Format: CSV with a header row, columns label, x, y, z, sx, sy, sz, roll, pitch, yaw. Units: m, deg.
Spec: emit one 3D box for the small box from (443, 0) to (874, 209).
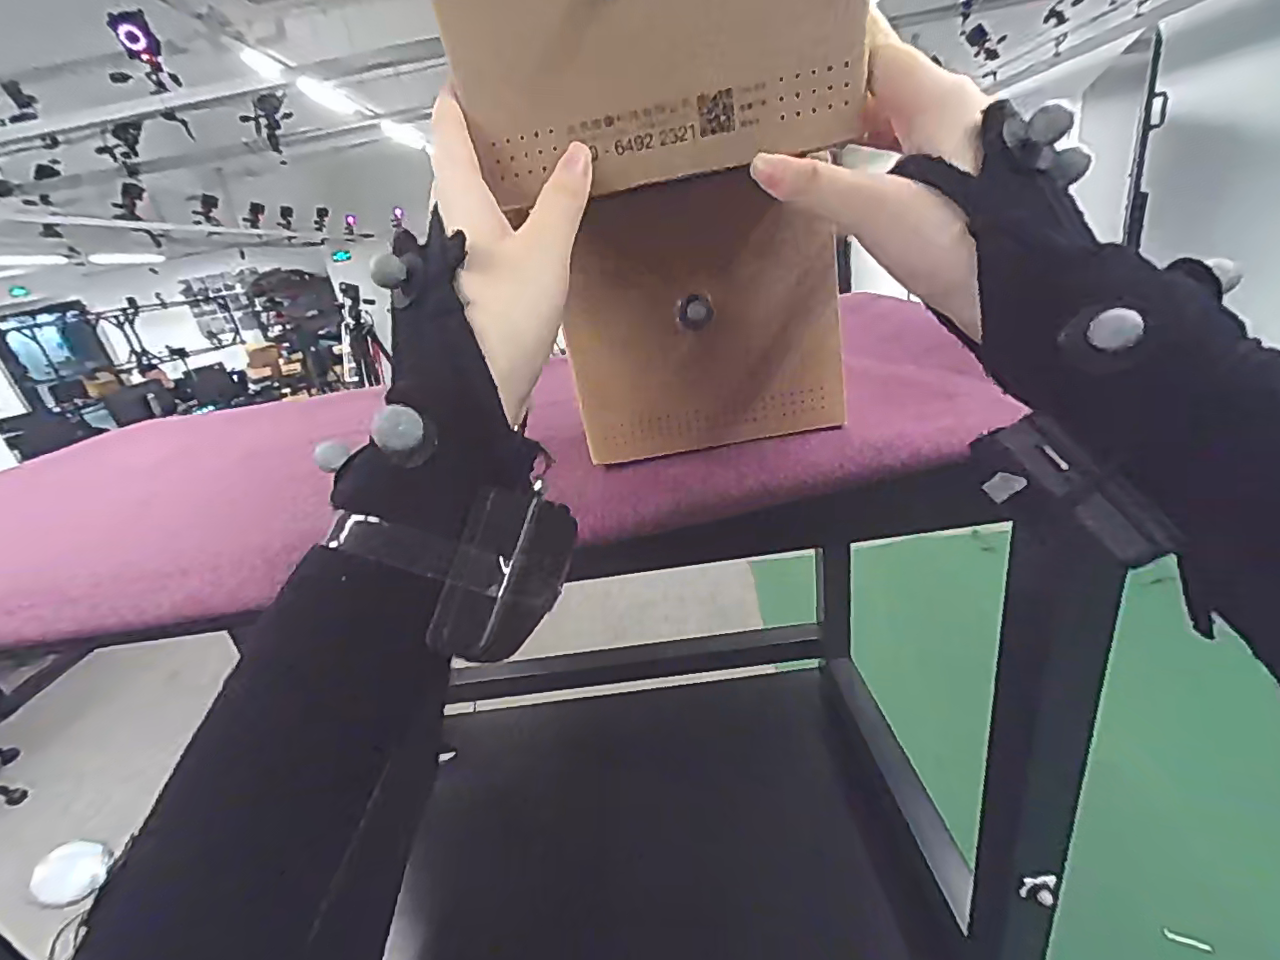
label,x,y,z,sx,sy,sz,roll,pitch,yaw
small box,0.007,-0.238,0.260,0.168,0.176,0.179,-7,30,7
